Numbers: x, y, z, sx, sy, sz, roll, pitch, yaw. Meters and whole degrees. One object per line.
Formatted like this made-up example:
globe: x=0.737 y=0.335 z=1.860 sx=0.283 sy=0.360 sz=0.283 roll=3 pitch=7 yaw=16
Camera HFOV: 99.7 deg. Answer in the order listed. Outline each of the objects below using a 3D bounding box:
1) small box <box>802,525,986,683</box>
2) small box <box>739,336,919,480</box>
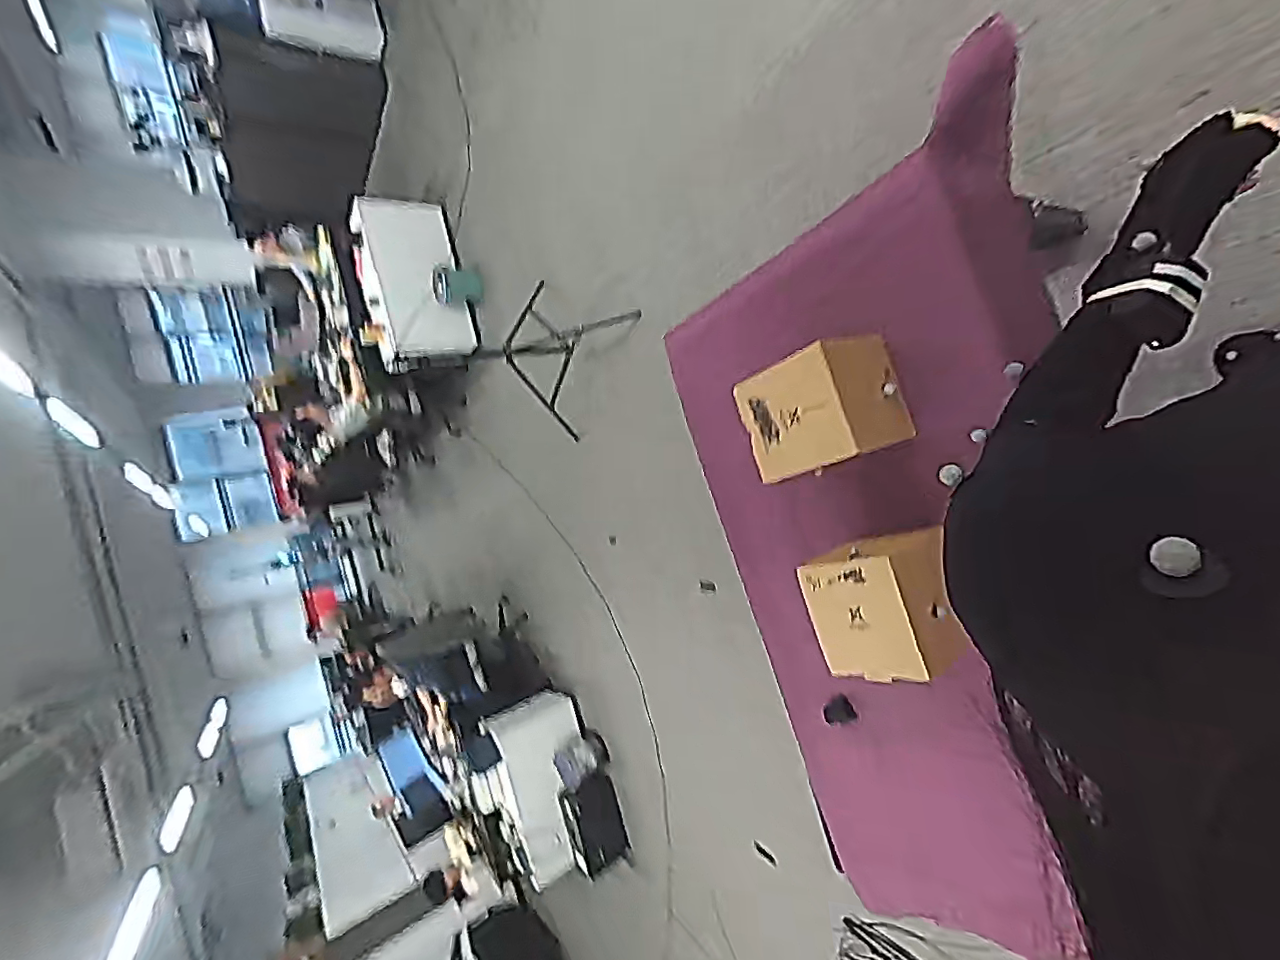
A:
small box: x=0.387 y=0.184 z=0.822 sx=0.168 sy=0.176 sz=0.179 roll=-25 pitch=82 yaw=55
small box: x=0.293 y=-0.111 z=0.846 sx=0.179 sy=0.176 sz=0.168 roll=-25 pitch=82 yaw=54
